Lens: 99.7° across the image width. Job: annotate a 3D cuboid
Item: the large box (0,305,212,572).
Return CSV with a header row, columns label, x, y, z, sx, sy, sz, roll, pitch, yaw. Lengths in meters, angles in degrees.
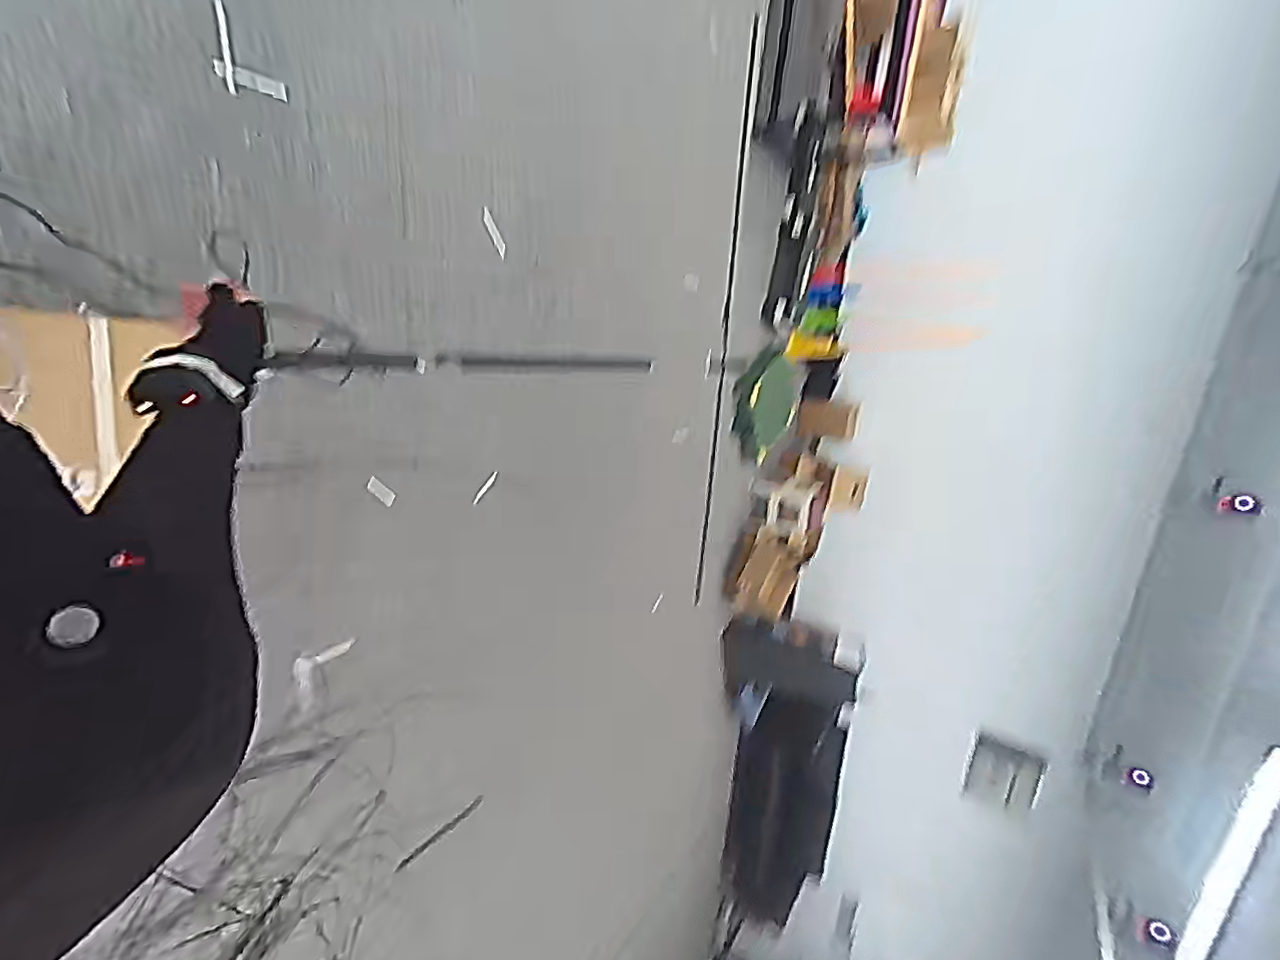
label,x,y,z,sx,sy,sz,roll,pitch,yaw
large box,-1.025,-0.096,0.976,0.320,0.320,0.408,-8,110,-55
